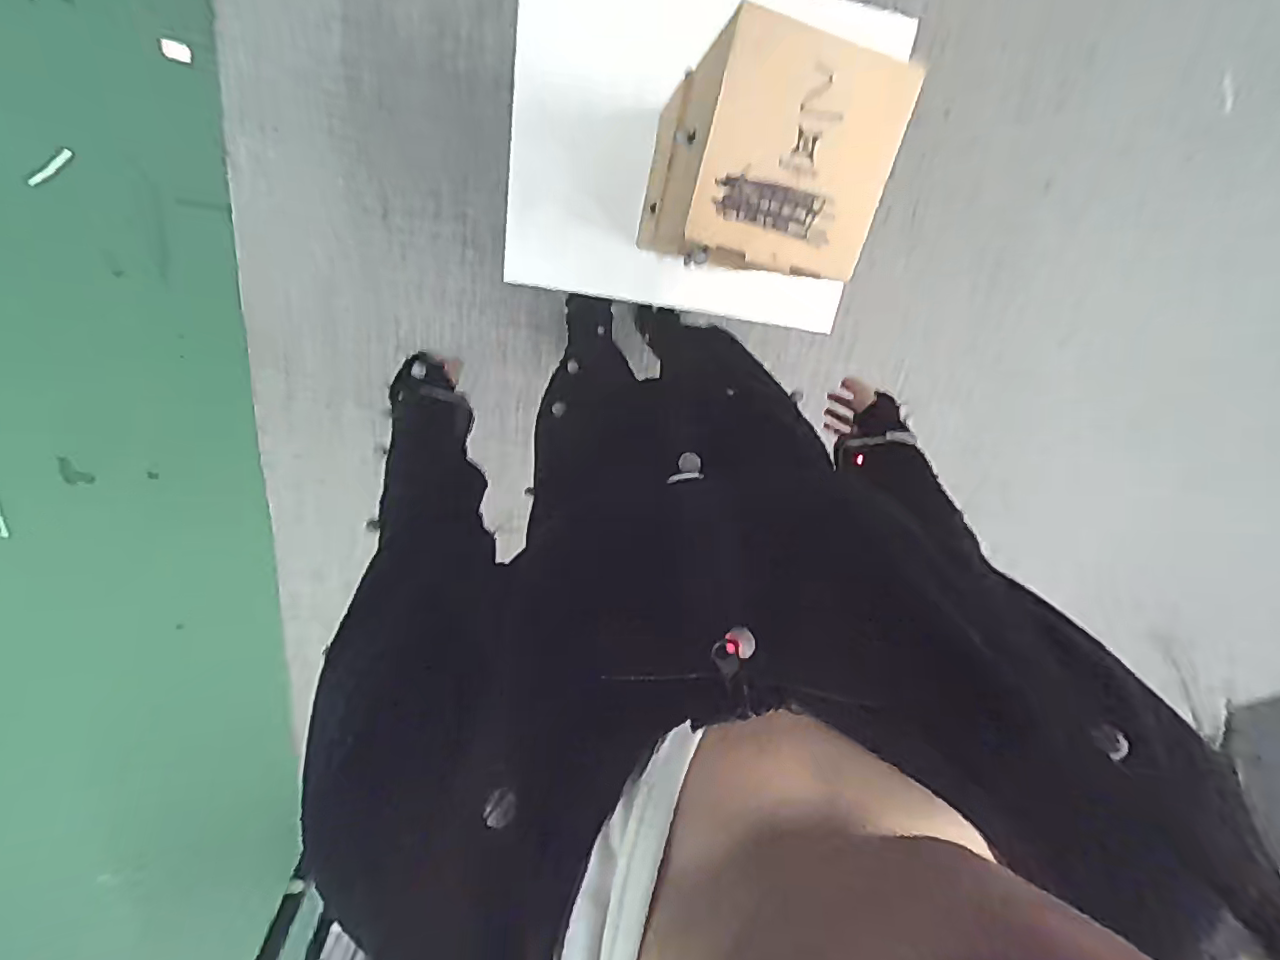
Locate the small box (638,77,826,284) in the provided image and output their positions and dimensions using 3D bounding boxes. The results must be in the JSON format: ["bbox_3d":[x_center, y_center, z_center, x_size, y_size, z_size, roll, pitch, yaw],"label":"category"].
[{"bbox_3d":[0.098,-0.353,0.673,0.168,0.176,0.179,9,110,-10],"label":"small box"}]
